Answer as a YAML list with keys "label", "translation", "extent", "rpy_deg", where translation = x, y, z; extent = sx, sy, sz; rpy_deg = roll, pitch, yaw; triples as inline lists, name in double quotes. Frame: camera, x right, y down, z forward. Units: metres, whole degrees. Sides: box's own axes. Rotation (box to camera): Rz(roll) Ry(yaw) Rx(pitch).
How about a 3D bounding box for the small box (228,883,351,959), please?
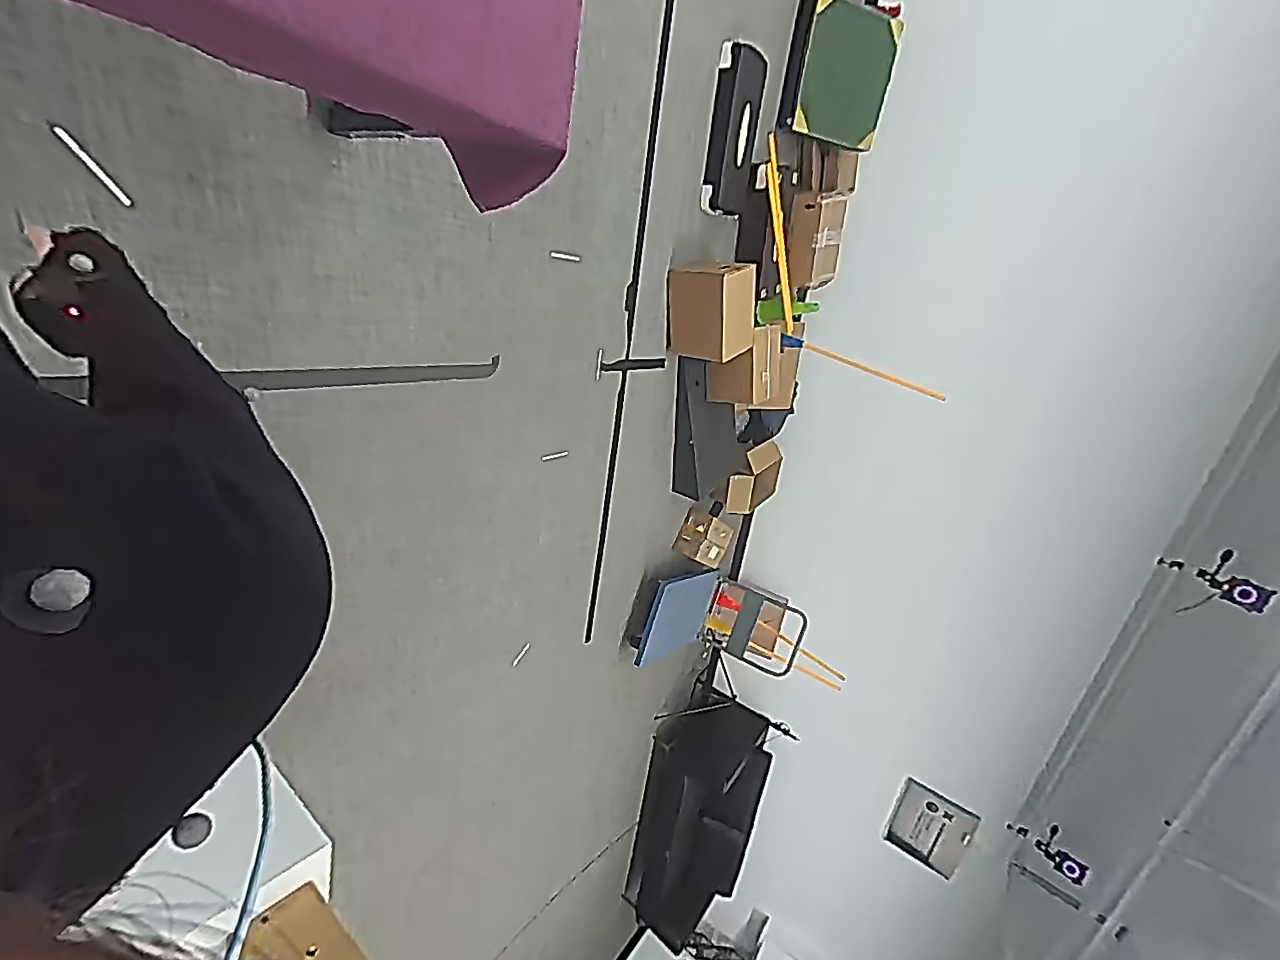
- label: "small box"
  translation: [-0.742, 1.015, 1.139]
  extent: [0.168, 0.176, 0.179]
  rpy_deg: [-11, 119, -55]

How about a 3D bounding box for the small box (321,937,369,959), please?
- label: "small box"
  translation: [-0.610, 1.066, 1.054]
  extent: [0.179, 0.176, 0.168]
  rpy_deg: [-11, 117, -55]
